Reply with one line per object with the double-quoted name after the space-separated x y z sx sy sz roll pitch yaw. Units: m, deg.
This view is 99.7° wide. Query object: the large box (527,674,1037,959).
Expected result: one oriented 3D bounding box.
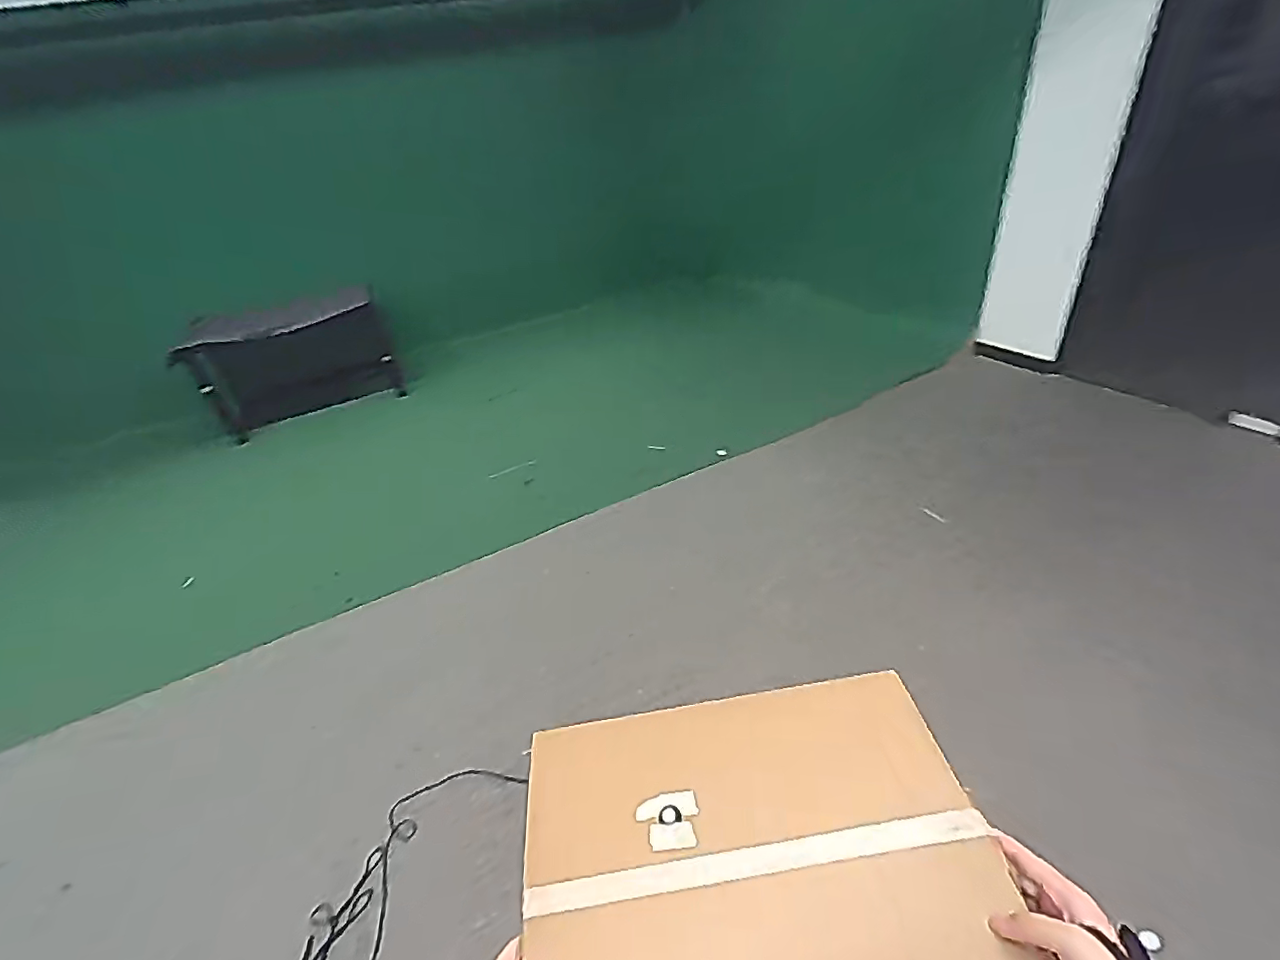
0.121 0.461 0.571 0.408 0.320 0.320 -12 37 1 "large box"
